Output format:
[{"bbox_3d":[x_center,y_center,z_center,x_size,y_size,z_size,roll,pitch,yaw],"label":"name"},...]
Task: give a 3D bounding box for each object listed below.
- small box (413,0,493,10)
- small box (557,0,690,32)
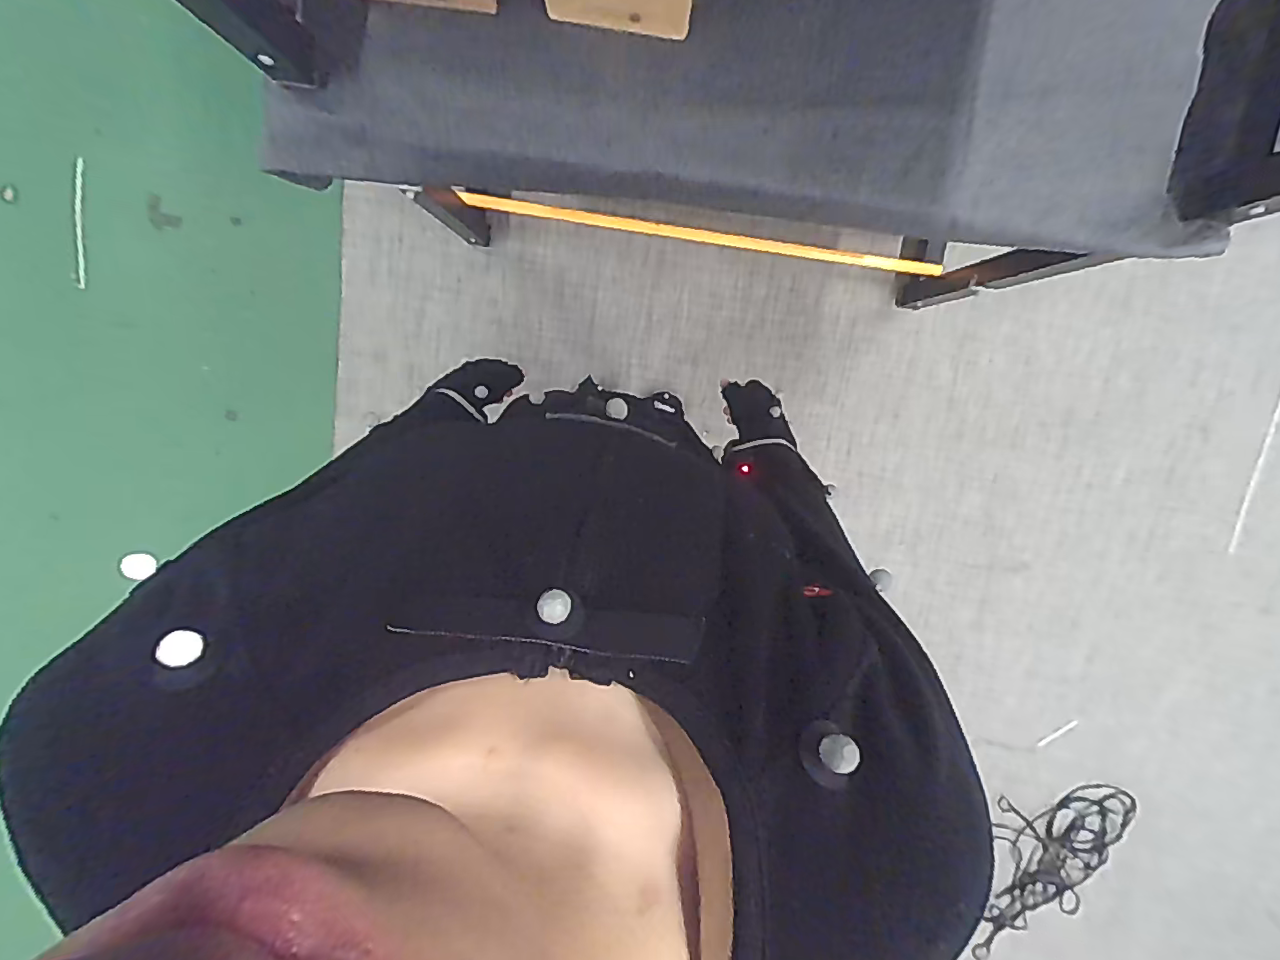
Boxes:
[{"bbox_3d":[-0.242,-0.631,0.540,0.168,0.176,0.179,6,101,-1],"label":"small box"},{"bbox_3d":[-0.016,-0.607,0.549,0.168,0.176,0.179,8,100,-2],"label":"small box"}]
